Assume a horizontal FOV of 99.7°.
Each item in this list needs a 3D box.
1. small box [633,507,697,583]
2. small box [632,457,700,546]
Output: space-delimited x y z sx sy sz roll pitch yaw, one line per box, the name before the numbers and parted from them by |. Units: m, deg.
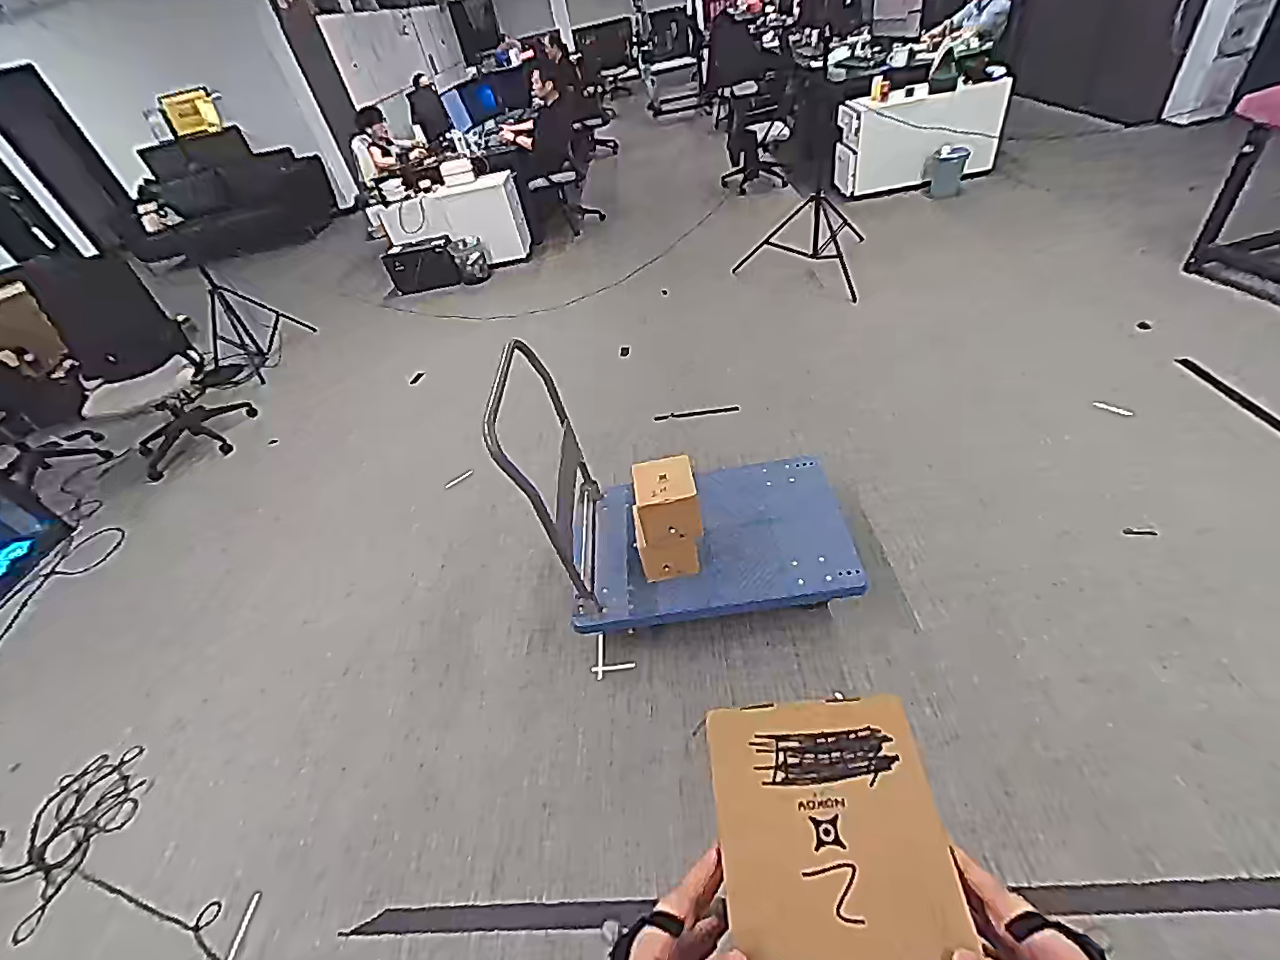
small box | 0.076 0.187 1.657 0.168 0.176 0.179 -11 42 2
small box | 0.074 0.063 1.546 0.168 0.176 0.179 -11 42 3
